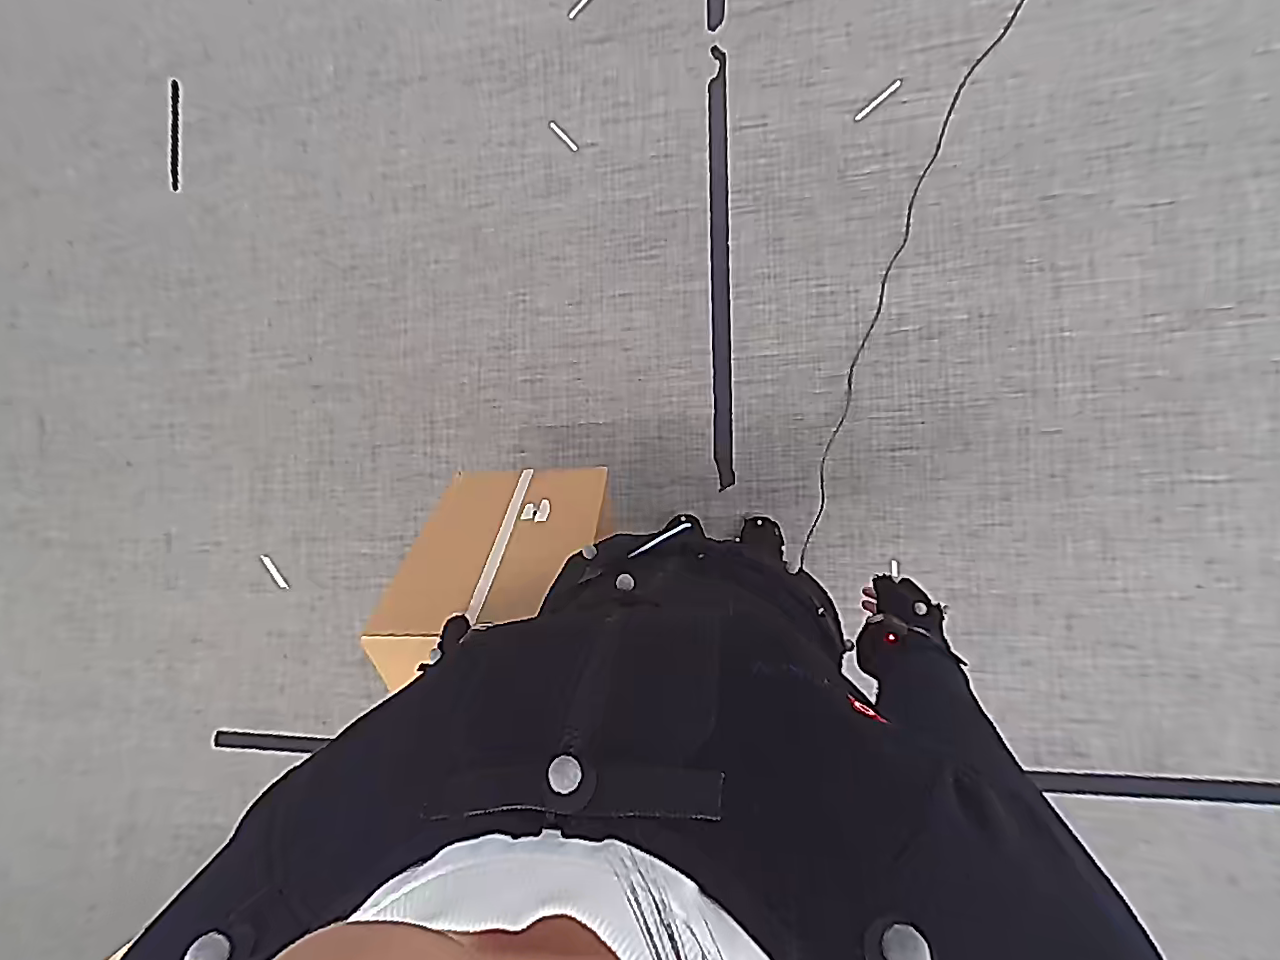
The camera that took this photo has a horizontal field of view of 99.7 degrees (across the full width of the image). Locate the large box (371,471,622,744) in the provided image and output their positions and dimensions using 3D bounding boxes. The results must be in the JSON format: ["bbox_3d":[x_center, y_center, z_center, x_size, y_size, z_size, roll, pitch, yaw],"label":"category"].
[{"bbox_3d":[-0.218,0.225,1.013,0.320,0.408,0.320,-1,125,6],"label":"large box"}]
